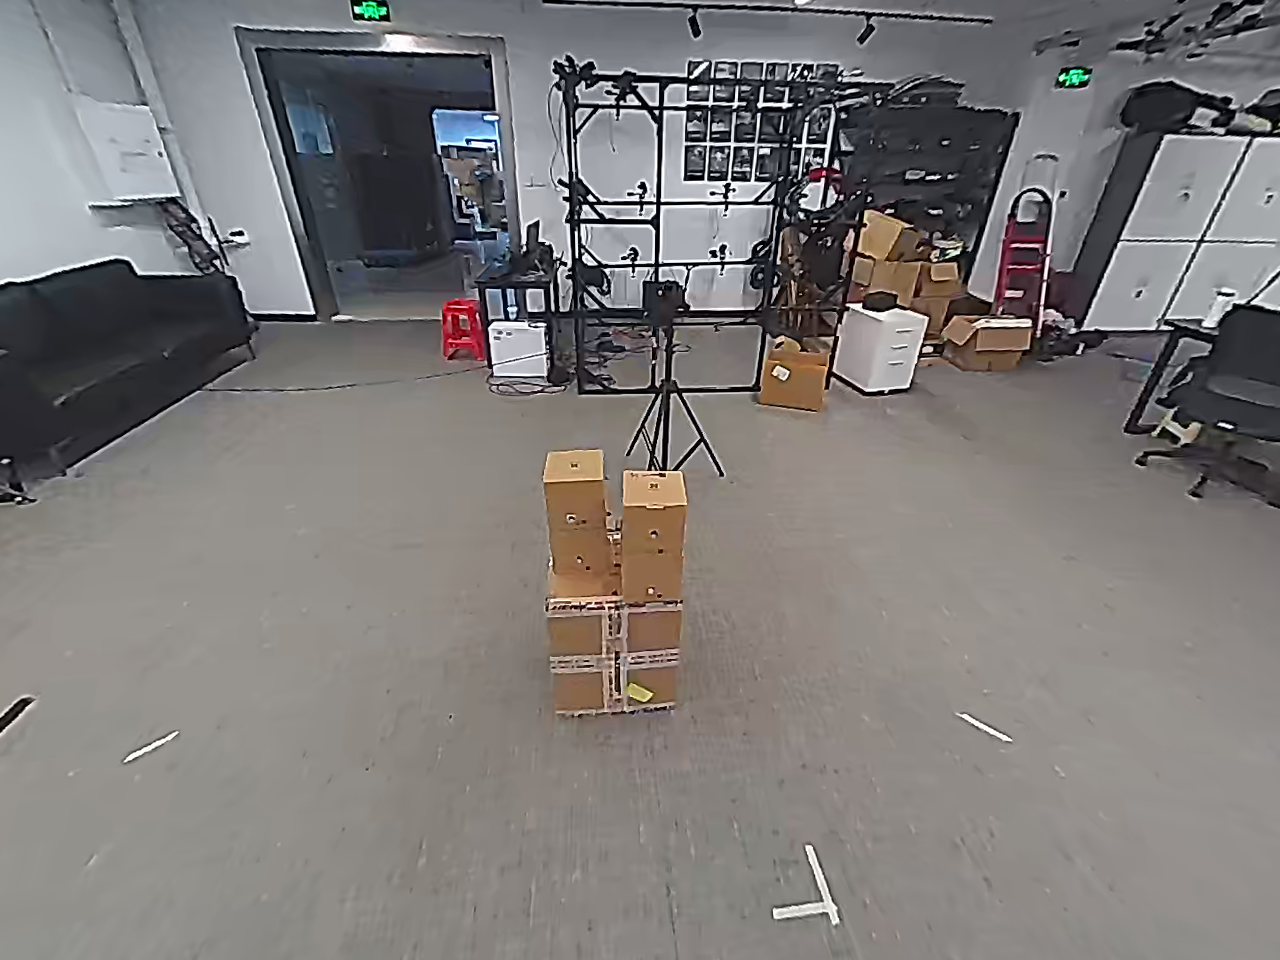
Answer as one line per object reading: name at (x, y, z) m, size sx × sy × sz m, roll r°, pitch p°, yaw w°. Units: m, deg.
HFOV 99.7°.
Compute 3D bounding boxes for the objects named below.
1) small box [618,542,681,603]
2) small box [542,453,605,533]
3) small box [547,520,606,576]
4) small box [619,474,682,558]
small box at (0.023, 0.238, 1.574) m, size 0.168 × 0.176 × 0.179 m, roll -1°, pitch 33°, yaw -5°
small box at (-0.190, 0.037, 1.584) m, size 0.168 × 0.176 × 0.179 m, roll -3°, pitch 32°, yaw -3°
small box at (-0.191, 0.175, 1.670) m, size 0.168 × 0.176 × 0.179 m, roll -3°, pitch 32°, yaw -3°
small box at (0.027, 0.099, 1.488) m, size 0.168 × 0.176 × 0.179 m, roll 1°, pitch 32°, yaw -1°
